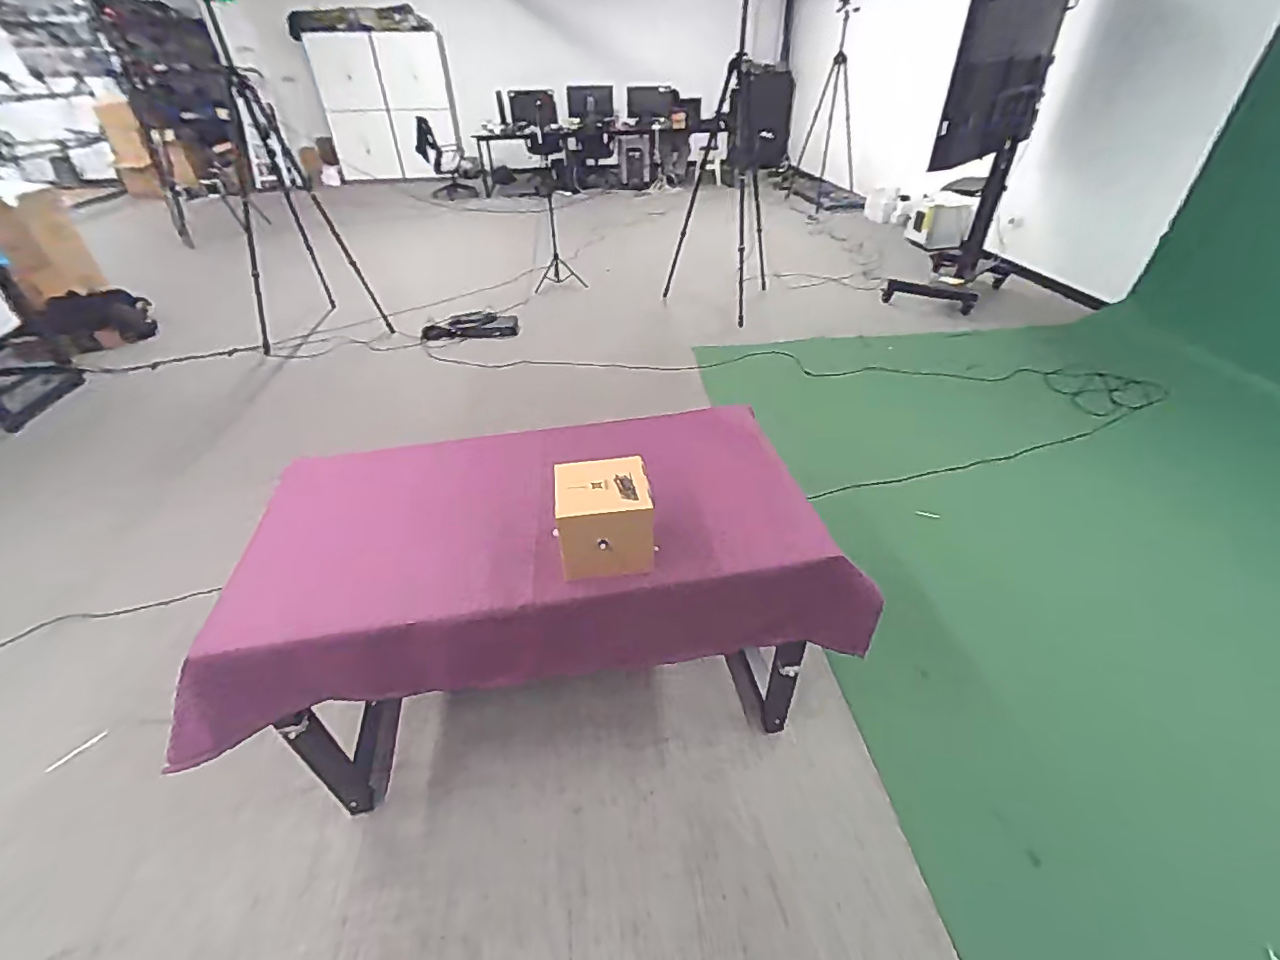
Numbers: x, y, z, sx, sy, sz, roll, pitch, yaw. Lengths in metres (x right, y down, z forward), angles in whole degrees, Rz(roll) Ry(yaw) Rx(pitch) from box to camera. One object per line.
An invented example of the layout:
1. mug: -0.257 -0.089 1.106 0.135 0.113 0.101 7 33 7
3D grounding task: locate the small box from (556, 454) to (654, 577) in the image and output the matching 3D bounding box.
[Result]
1. small box: -0.068 0.070 1.061 0.179 0.176 0.168 -6 38 -4
